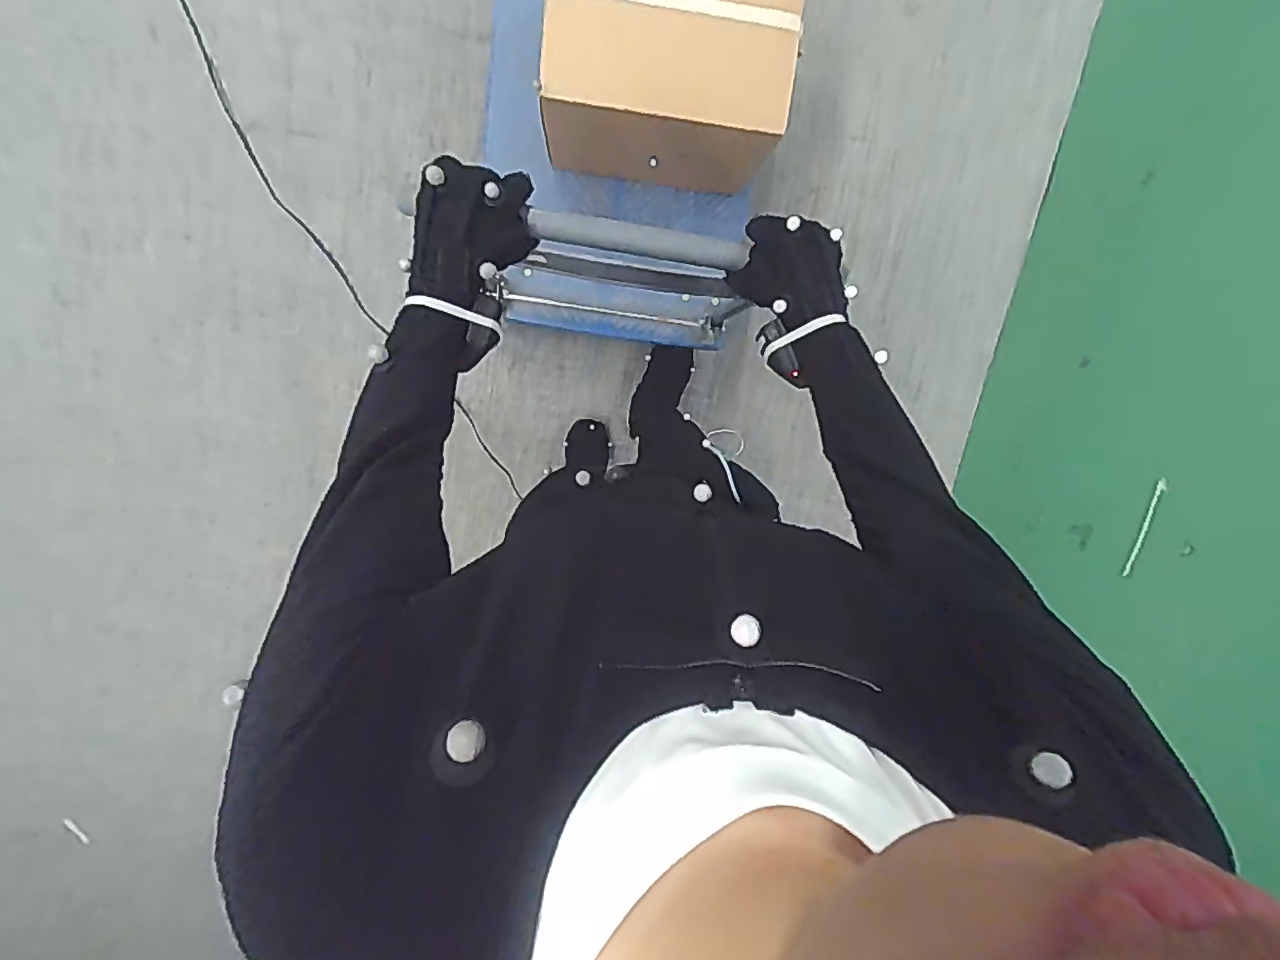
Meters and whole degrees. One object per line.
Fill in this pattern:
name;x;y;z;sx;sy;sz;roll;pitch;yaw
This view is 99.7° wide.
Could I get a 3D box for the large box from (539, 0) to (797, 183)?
large box;0.042;-0.776;0.993;0.408;0.320;0.320;5;101;-5
